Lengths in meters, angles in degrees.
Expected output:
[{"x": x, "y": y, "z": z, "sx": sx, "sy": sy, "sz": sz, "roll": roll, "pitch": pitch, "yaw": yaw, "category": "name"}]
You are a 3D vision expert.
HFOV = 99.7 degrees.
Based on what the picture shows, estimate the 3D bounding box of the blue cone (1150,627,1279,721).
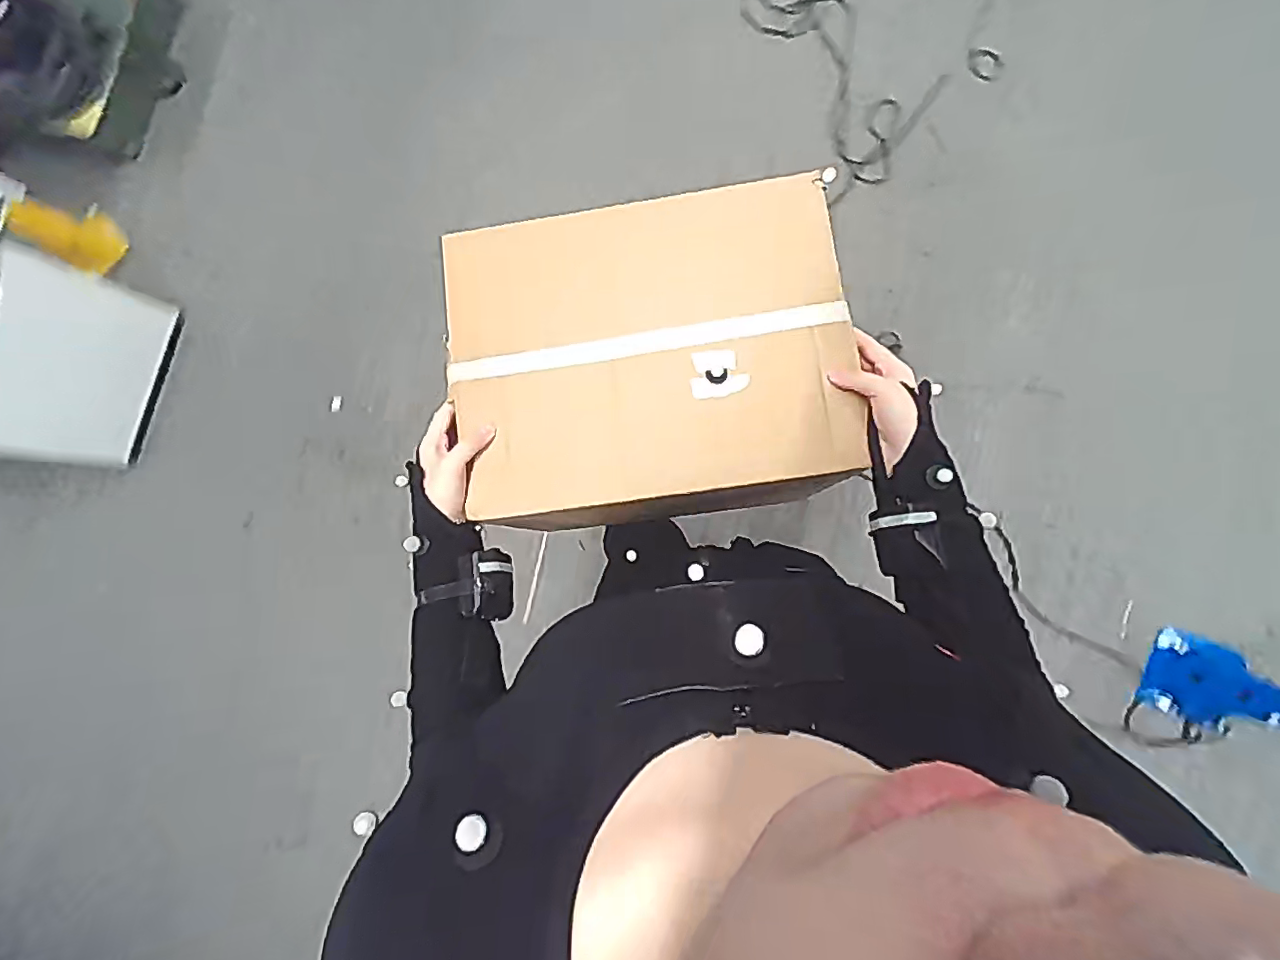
[{"x": 1.347, "y": 0.461, "z": 1.161, "sx": 0.192, "sy": 0.380, "sz": 0.193, "roll": 21, "pitch": 89, "yaw": 8, "category": "blue cone"}]

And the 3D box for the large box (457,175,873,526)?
[{"x": 0.022, "y": -0.125, "z": 0.701, "sx": 0.408, "sy": 0.320, "sz": 0.320, "roll": -7, "pitch": 82, "yaw": 3, "category": "large box"}]
